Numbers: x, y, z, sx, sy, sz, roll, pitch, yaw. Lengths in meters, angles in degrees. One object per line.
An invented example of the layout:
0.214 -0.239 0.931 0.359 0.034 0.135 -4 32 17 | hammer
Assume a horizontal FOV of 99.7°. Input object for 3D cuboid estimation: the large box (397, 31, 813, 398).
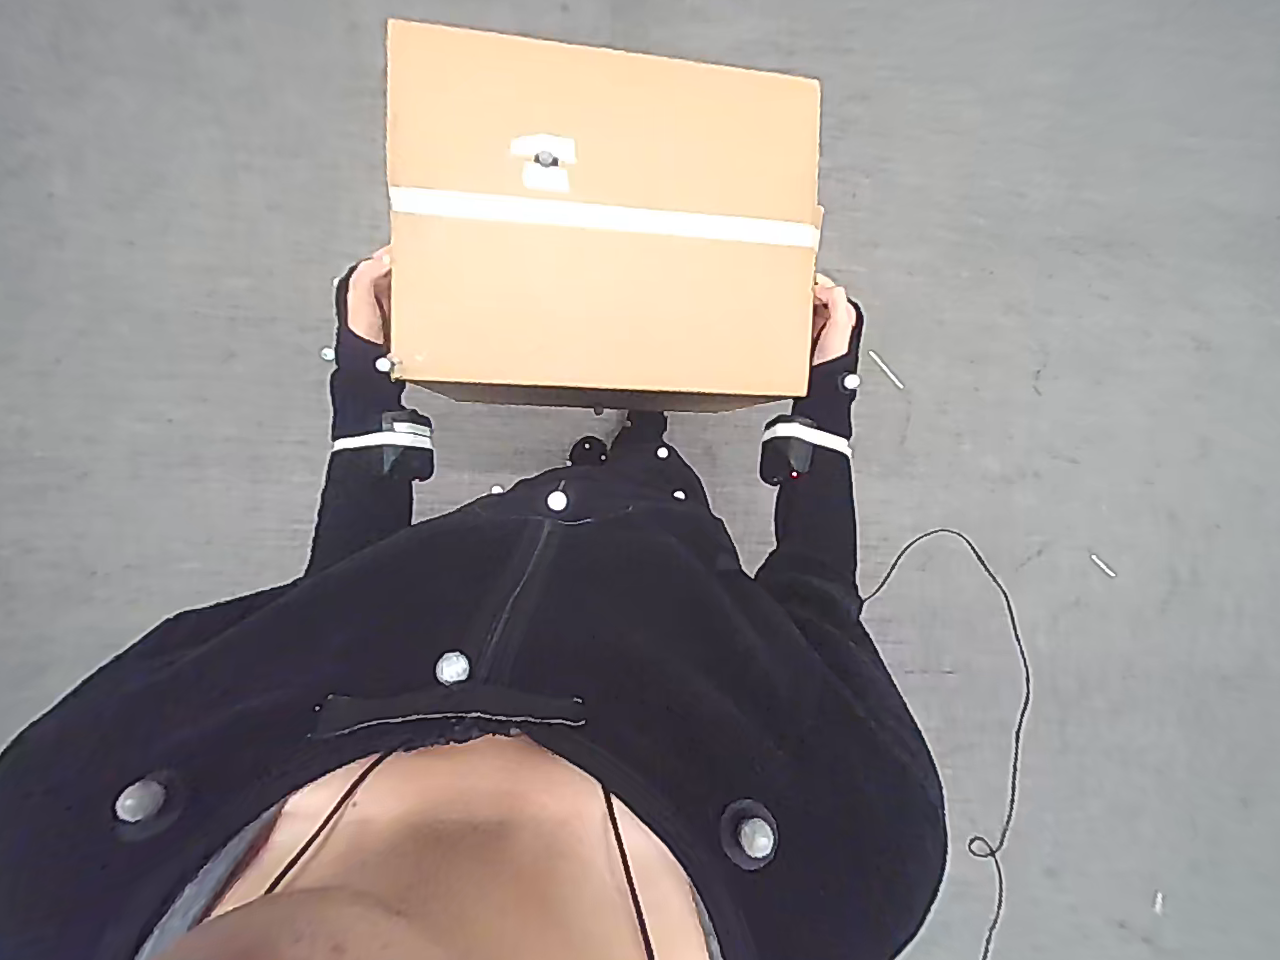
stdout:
-0.044 -0.266 0.672 0.408 0.320 0.320 1 94 -8 | large box
